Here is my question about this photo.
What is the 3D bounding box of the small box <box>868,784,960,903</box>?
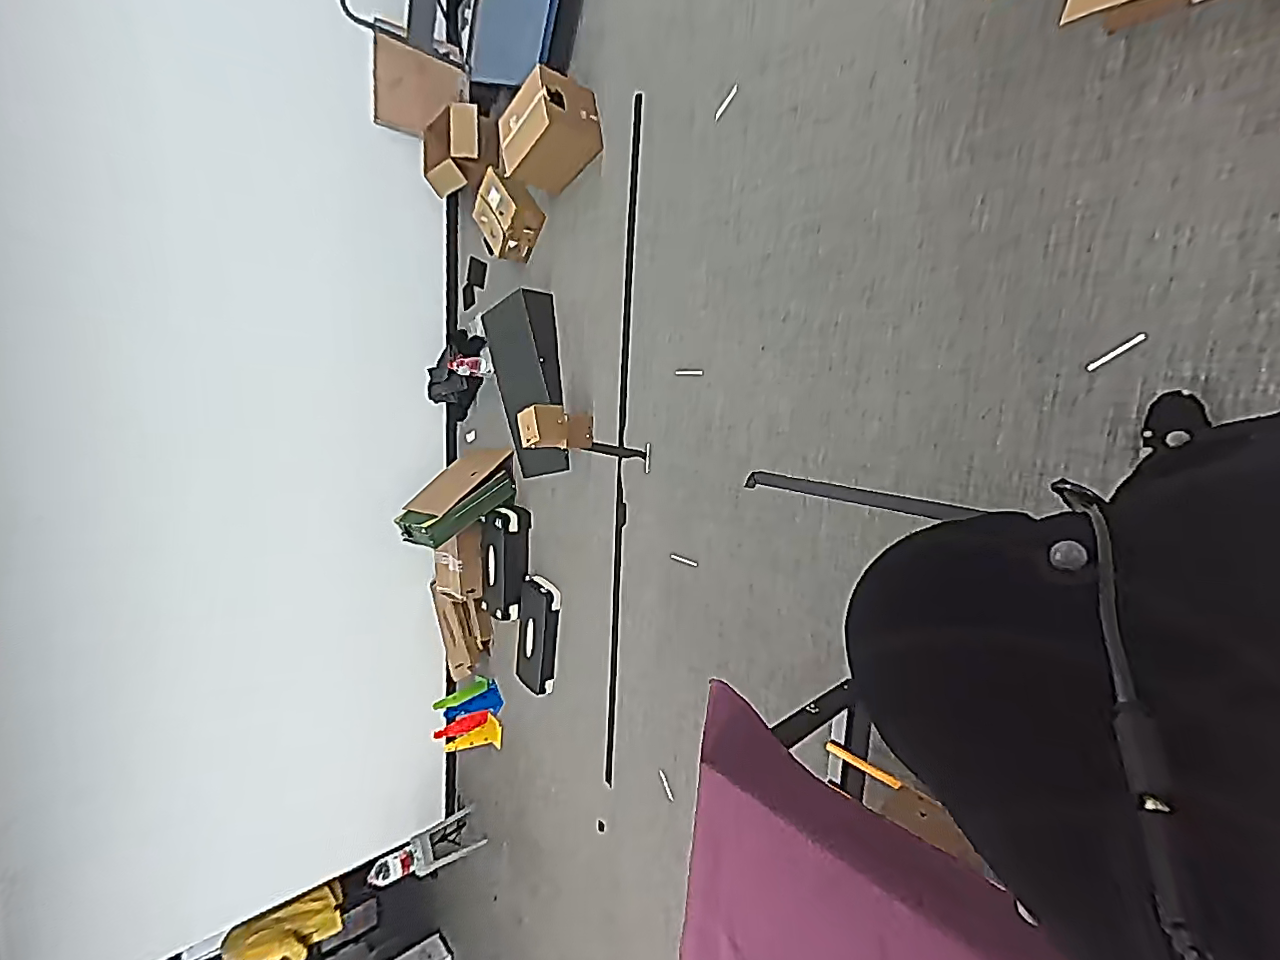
[{"bbox_3d":[0.751,0.980,1.478,0.168,0.176,0.179,15,105,47],"label":"small box"}]
